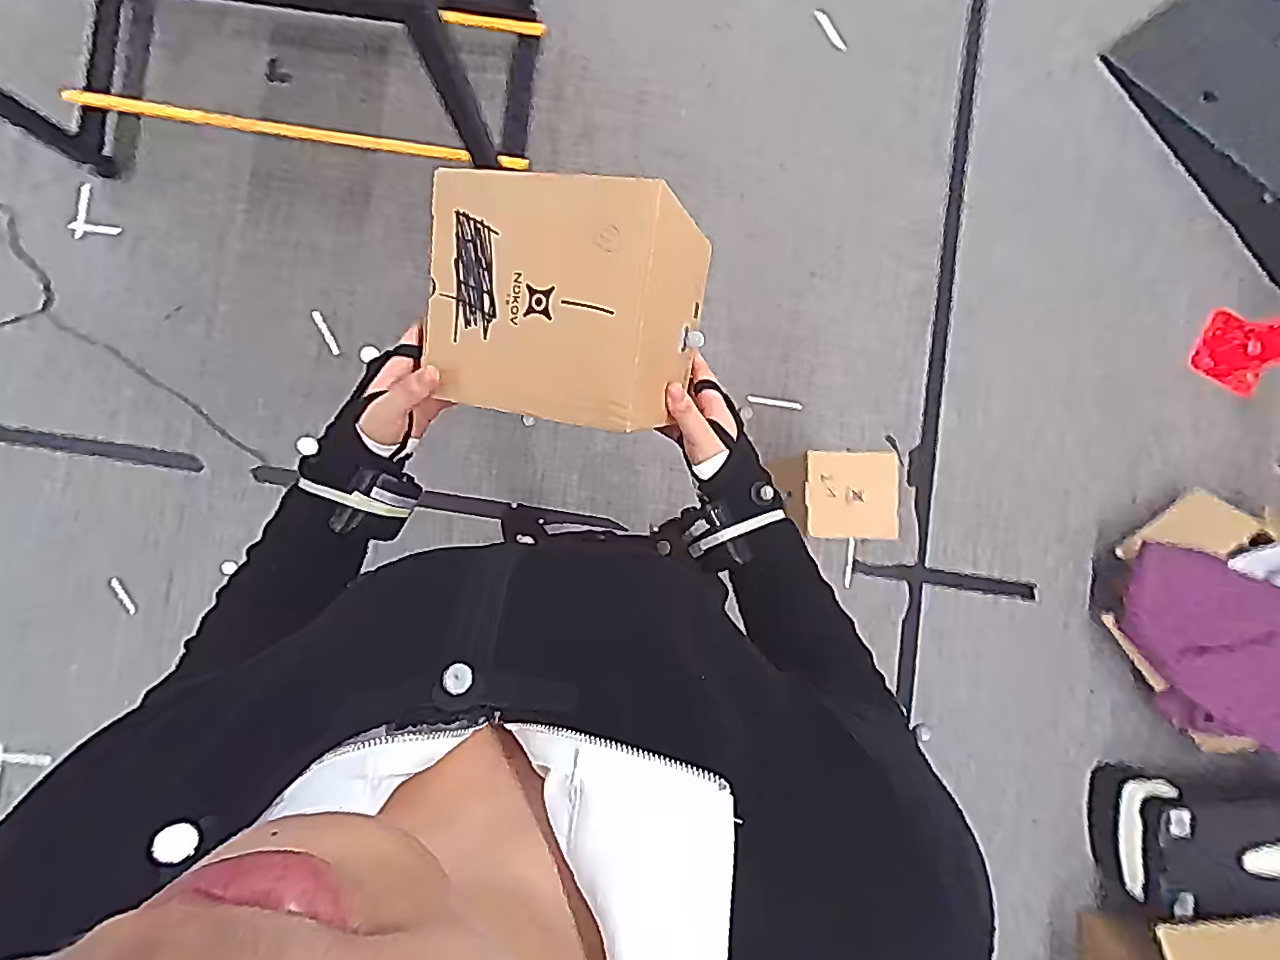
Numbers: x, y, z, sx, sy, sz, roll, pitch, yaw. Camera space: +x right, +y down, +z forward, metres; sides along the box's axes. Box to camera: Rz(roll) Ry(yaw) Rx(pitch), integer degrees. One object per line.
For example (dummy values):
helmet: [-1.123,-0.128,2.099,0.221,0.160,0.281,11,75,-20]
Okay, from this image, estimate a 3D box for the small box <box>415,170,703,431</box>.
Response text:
small box: [-0.057,-0.139,0.455,0.179,0.176,0.168,11,102,15]

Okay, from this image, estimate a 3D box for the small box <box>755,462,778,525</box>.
small box: [0.416,0.046,1.432,0.179,0.176,0.168,6,87,0]

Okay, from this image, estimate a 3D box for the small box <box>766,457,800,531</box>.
small box: [0.402,0.043,1.268,0.179,0.176,0.168,7,88,0]

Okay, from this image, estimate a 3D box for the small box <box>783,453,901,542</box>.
small box: [0.404,0.036,1.102,0.179,0.176,0.168,2,87,-1]
